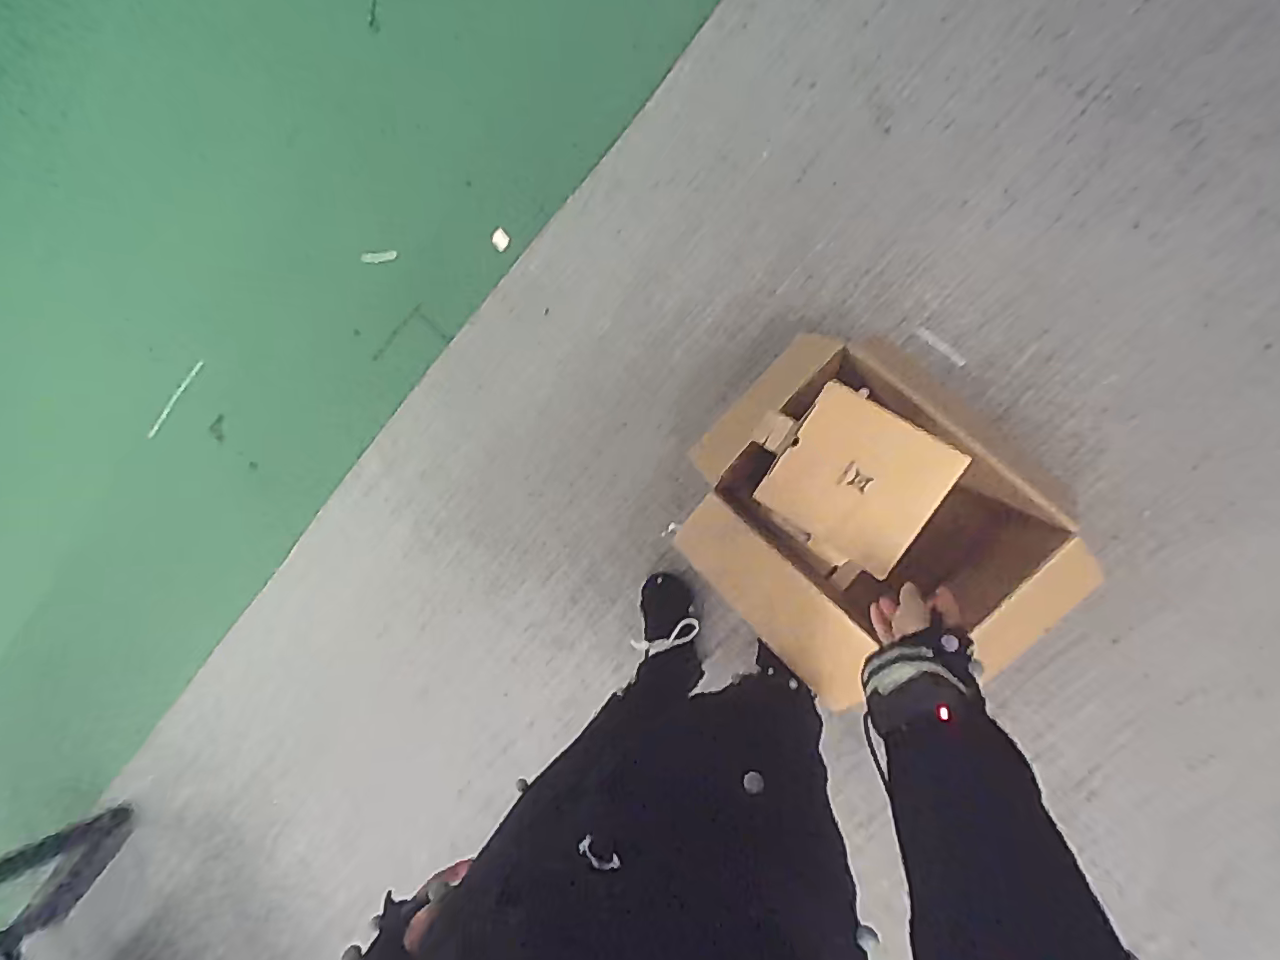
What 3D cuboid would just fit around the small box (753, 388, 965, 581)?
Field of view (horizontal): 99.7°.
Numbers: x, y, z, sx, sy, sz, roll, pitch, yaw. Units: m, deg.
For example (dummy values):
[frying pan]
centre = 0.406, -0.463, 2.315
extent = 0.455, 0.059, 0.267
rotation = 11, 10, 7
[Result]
[small box]
centre = 0.270, 0.003, 0.702
extent = 0.179, 0.176, 0.168
rotation = 34, 98, 14
